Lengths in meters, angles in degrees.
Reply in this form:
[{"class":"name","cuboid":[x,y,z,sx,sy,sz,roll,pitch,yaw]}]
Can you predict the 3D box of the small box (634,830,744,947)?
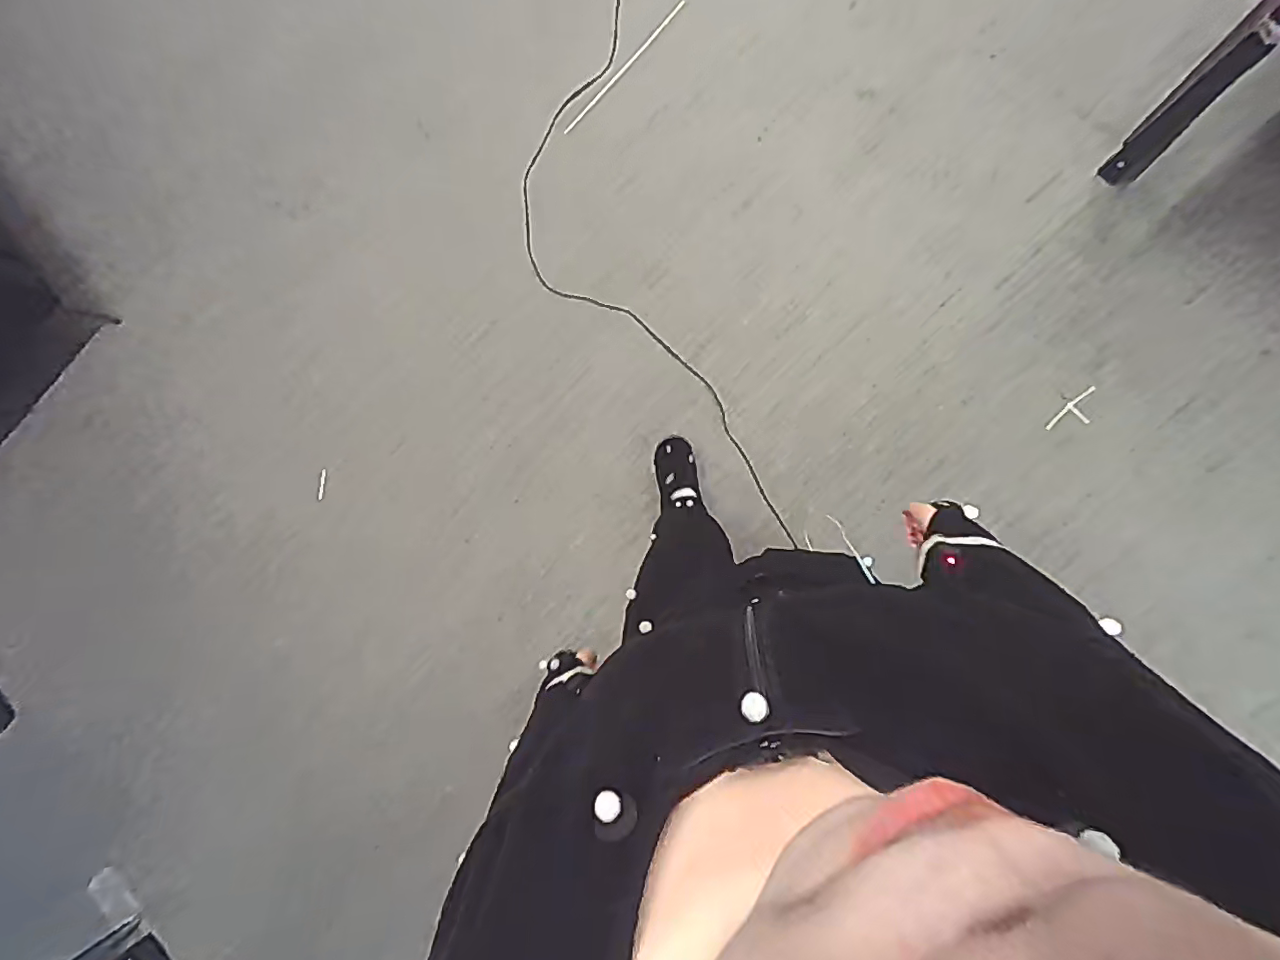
[{"class":"small box","cuboid":[0.113,0.928,1.198,0.179,0.176,0.168,-37,82,9]}]
